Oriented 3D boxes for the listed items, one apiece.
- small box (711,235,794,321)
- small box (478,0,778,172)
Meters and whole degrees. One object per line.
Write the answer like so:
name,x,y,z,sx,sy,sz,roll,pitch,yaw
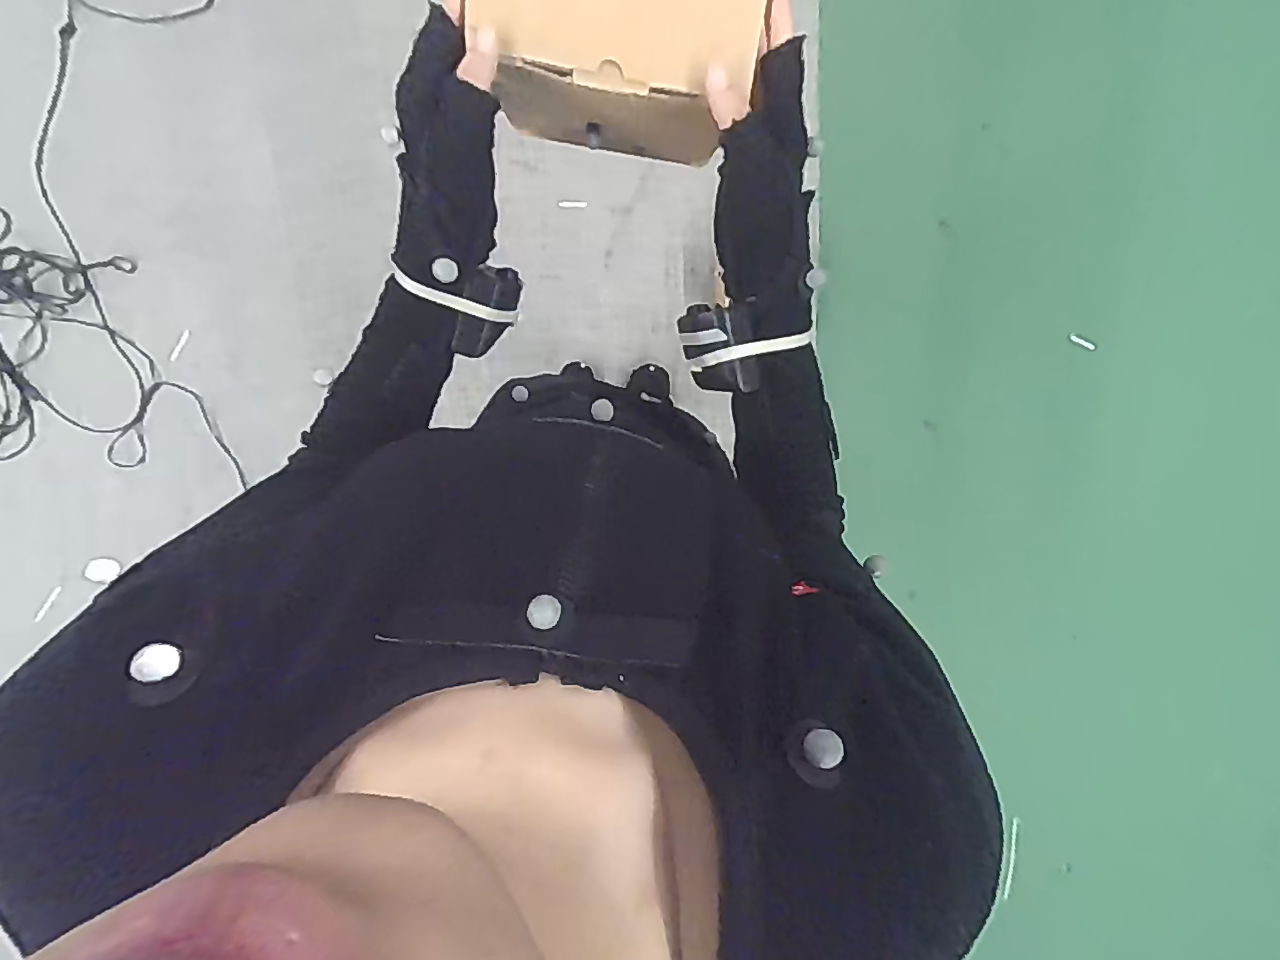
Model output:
small box,0.266,-0.479,1.308,0.168,0.176,0.179,-1,101,0
small box,-0.003,-0.333,0.362,0.168,0.176,0.179,7,109,-5
